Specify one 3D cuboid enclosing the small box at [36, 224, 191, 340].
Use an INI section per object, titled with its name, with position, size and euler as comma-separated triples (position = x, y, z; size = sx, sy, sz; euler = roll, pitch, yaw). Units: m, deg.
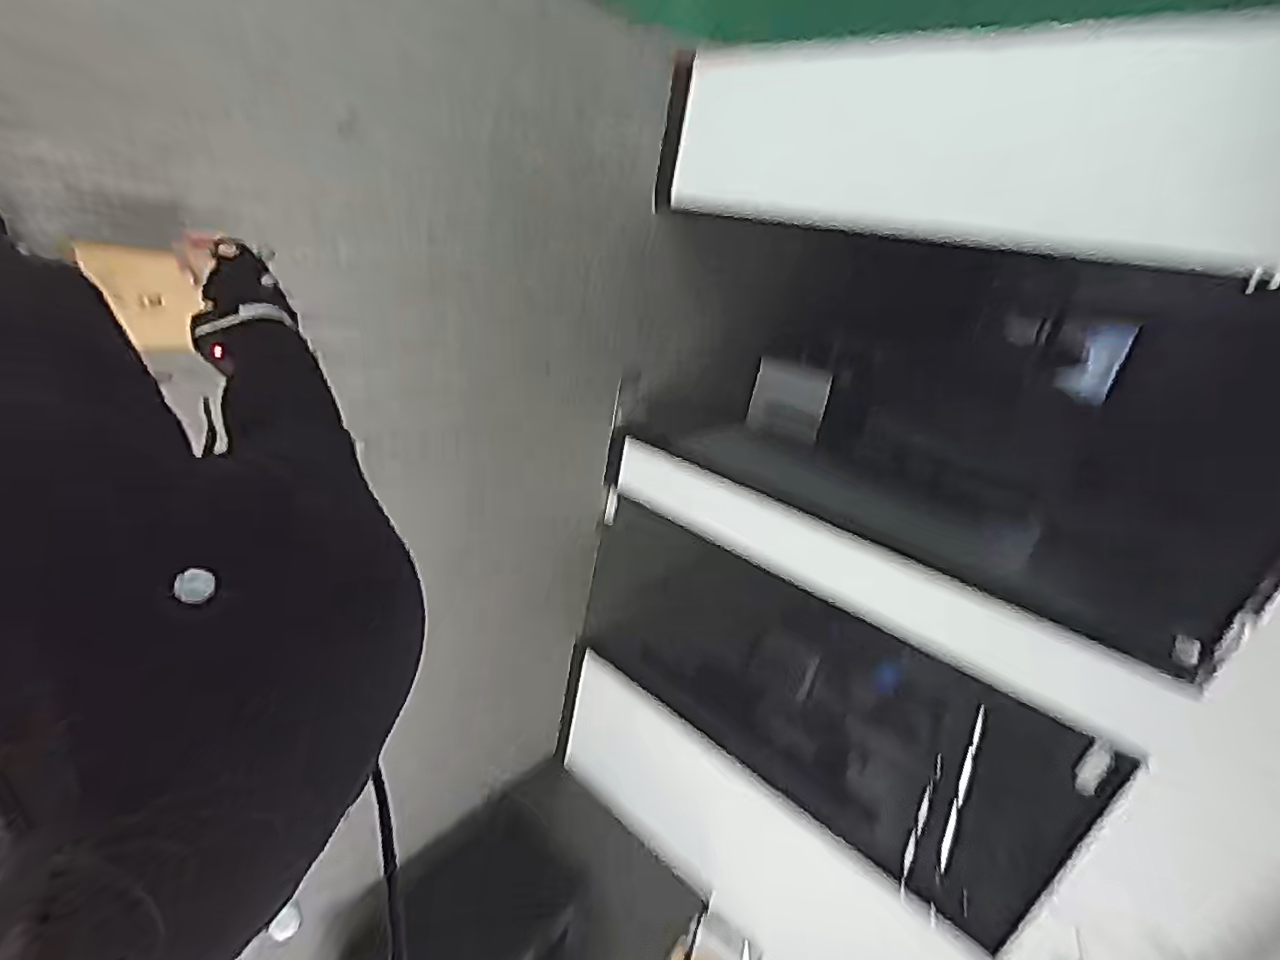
[small box]
position = -0.983, -0.369, 1.016
size = 0.179, 0.176, 0.168
euler = -13, 123, -51
